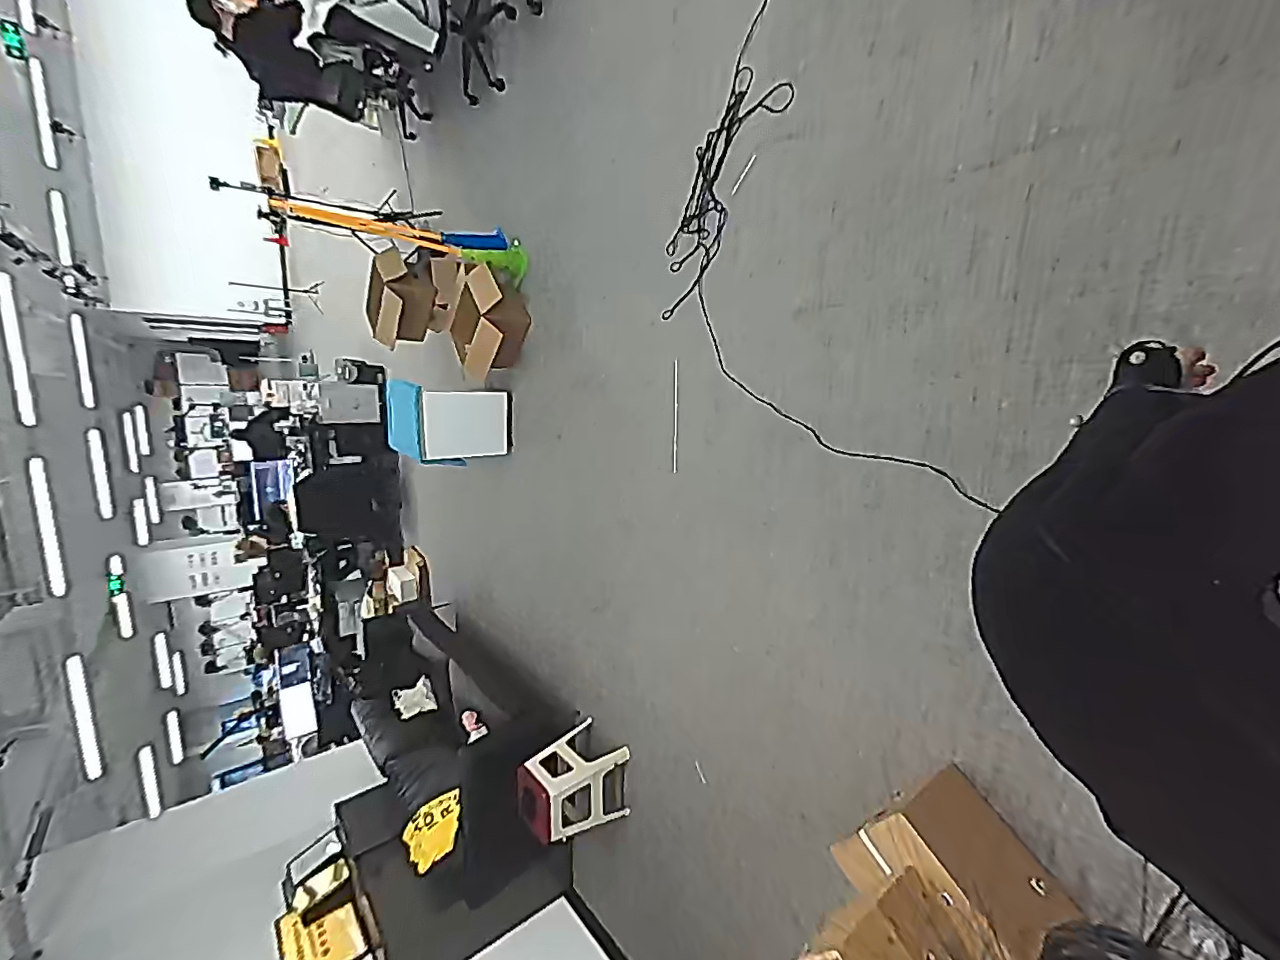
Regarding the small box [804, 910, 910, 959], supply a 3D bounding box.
[{"bbox_3d":[0.481,1.080,1.170,0.168,0.176,0.179,54,135,32],"label":"small box"}]
